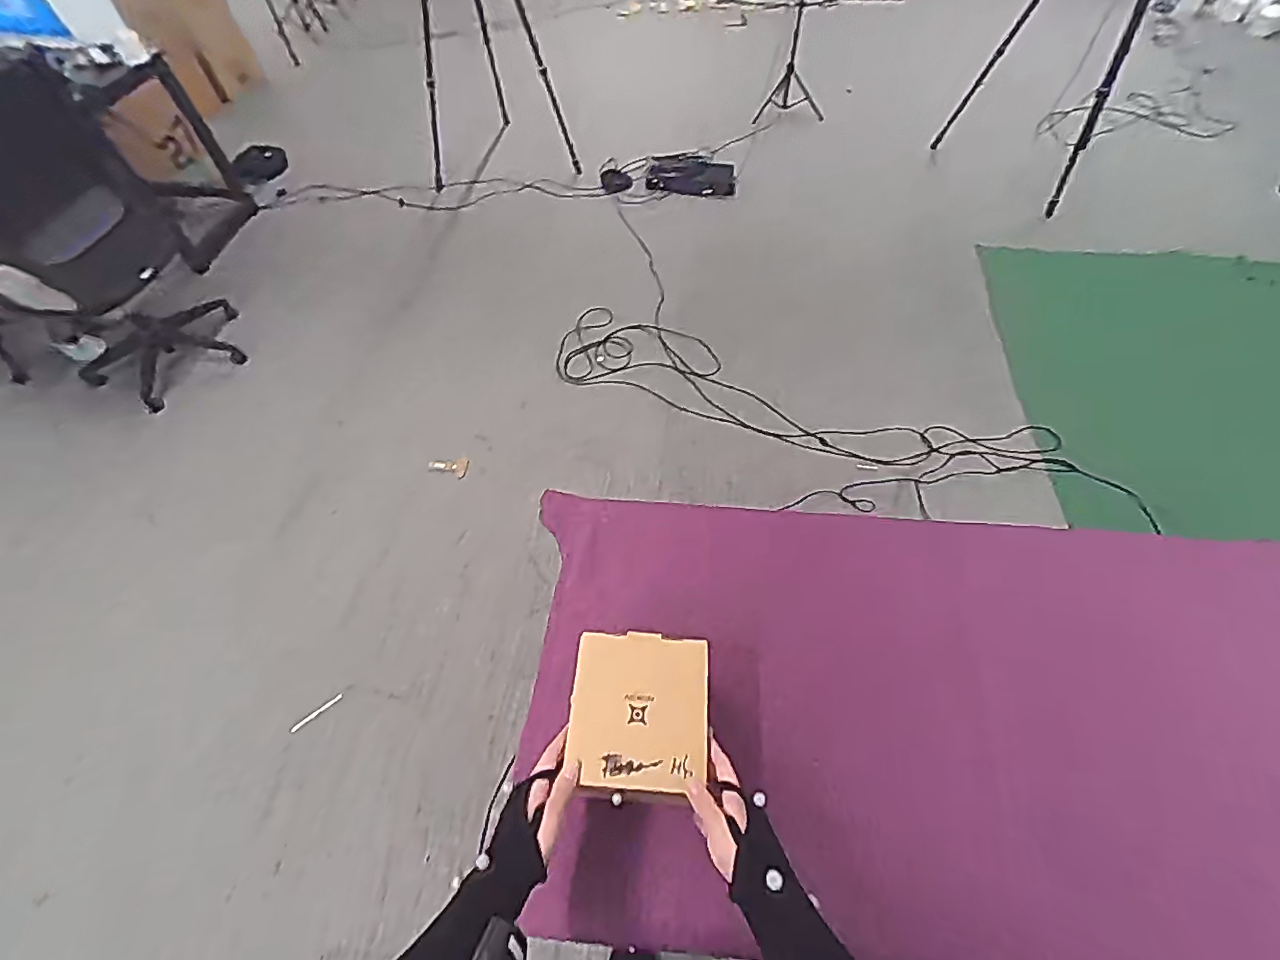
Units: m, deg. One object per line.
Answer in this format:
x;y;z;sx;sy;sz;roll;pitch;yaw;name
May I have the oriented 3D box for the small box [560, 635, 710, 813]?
0.000;0.321;0.706;0.168;0.176;0.179;3;56;4;small box
